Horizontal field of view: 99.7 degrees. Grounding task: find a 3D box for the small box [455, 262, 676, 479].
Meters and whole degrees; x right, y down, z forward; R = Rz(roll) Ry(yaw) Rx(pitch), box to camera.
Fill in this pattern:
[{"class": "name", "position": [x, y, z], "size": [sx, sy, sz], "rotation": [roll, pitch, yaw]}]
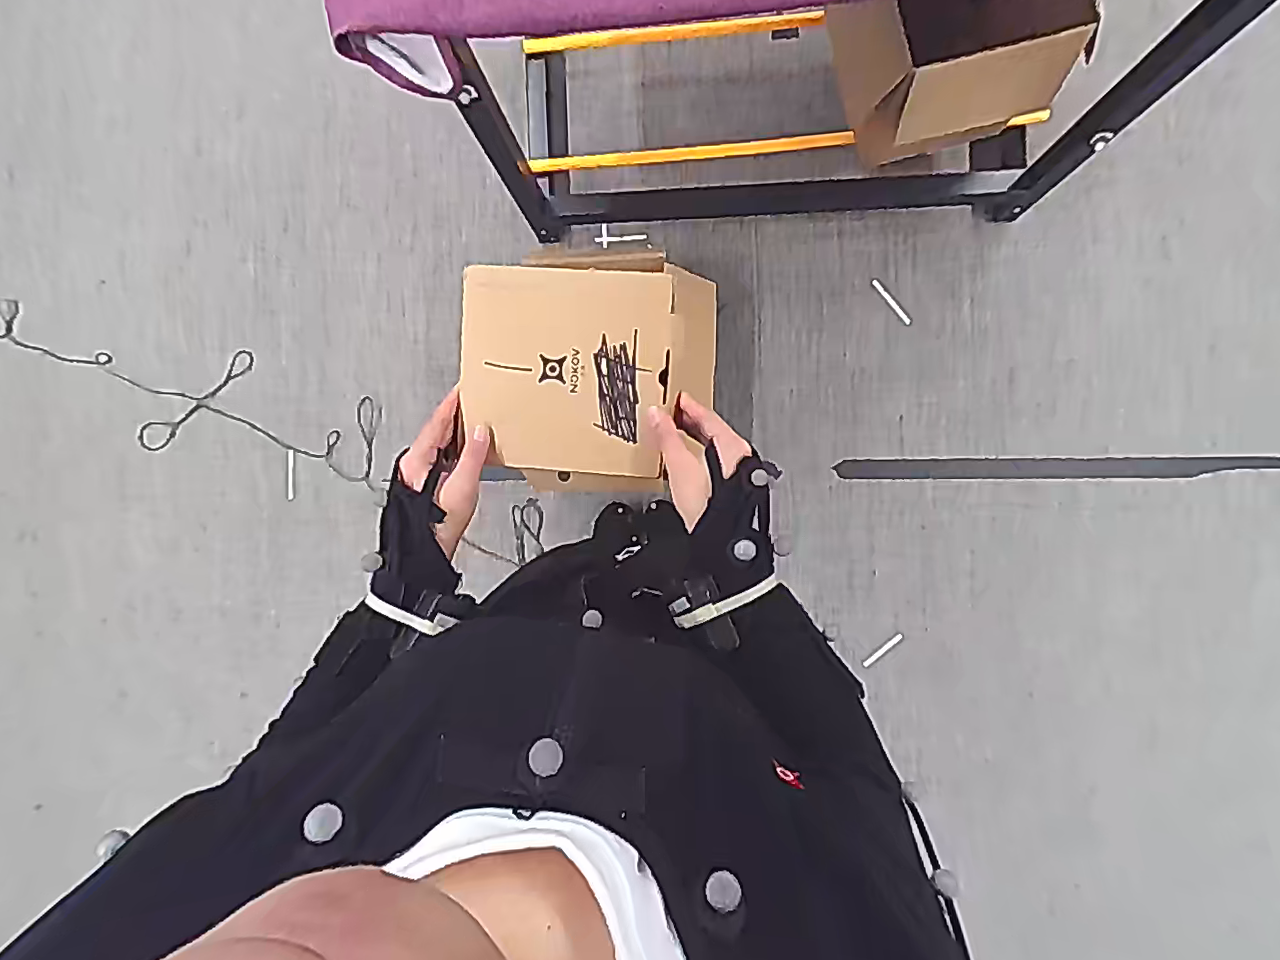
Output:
[{"class": "small box", "position": [-0.058, -0.097, 0.522], "size": [0.179, 0.176, 0.168], "rotation": [5, 95, 4]}]
